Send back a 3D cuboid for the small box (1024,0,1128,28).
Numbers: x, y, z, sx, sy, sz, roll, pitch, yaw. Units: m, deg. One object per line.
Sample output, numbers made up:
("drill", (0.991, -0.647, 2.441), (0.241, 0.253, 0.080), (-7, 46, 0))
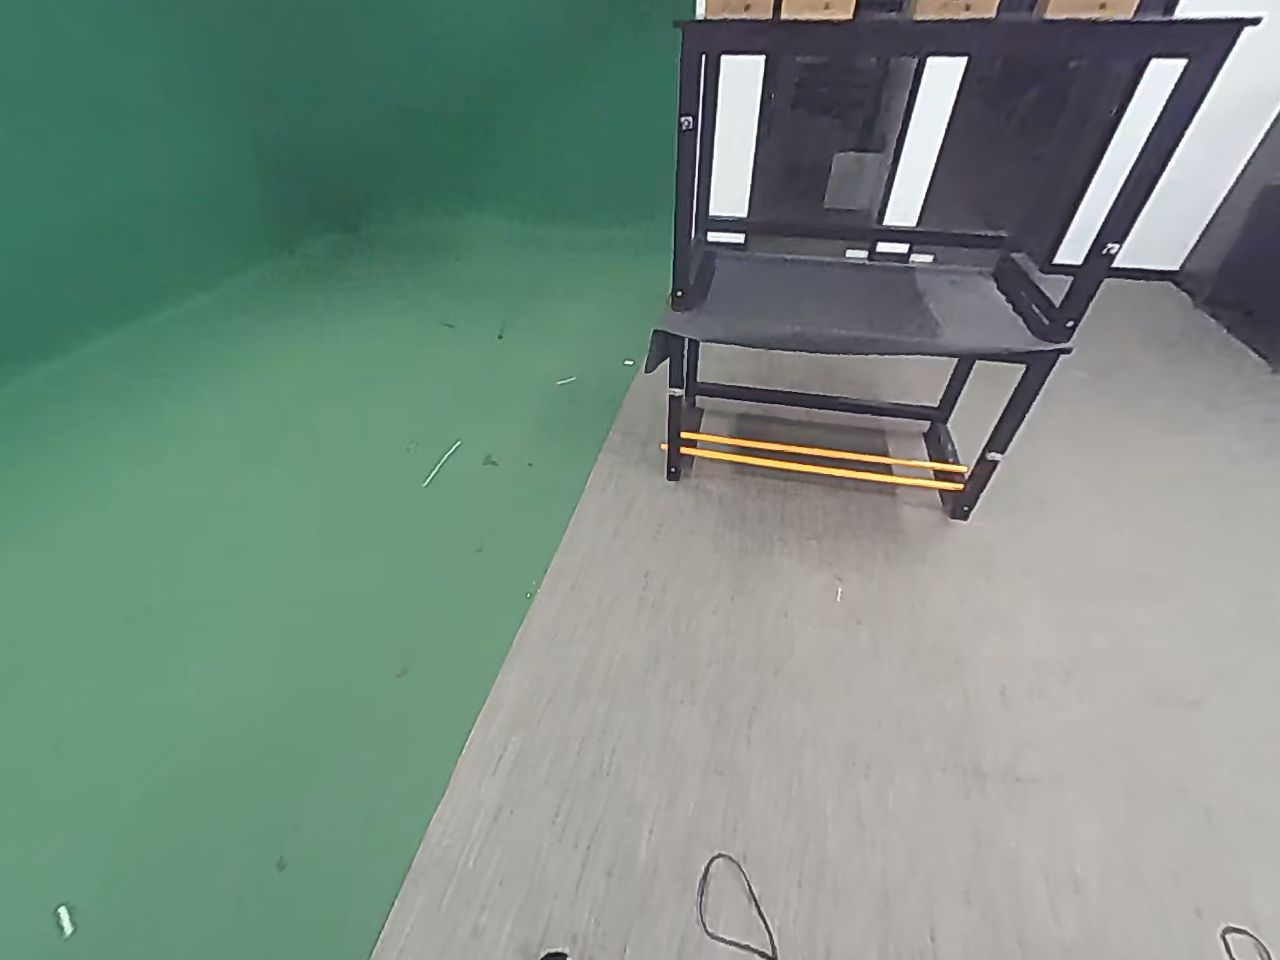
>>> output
("small box", (0.982, -1.108, 1.189), (0.168, 0.176, 0.179), (14, 43, 16))
